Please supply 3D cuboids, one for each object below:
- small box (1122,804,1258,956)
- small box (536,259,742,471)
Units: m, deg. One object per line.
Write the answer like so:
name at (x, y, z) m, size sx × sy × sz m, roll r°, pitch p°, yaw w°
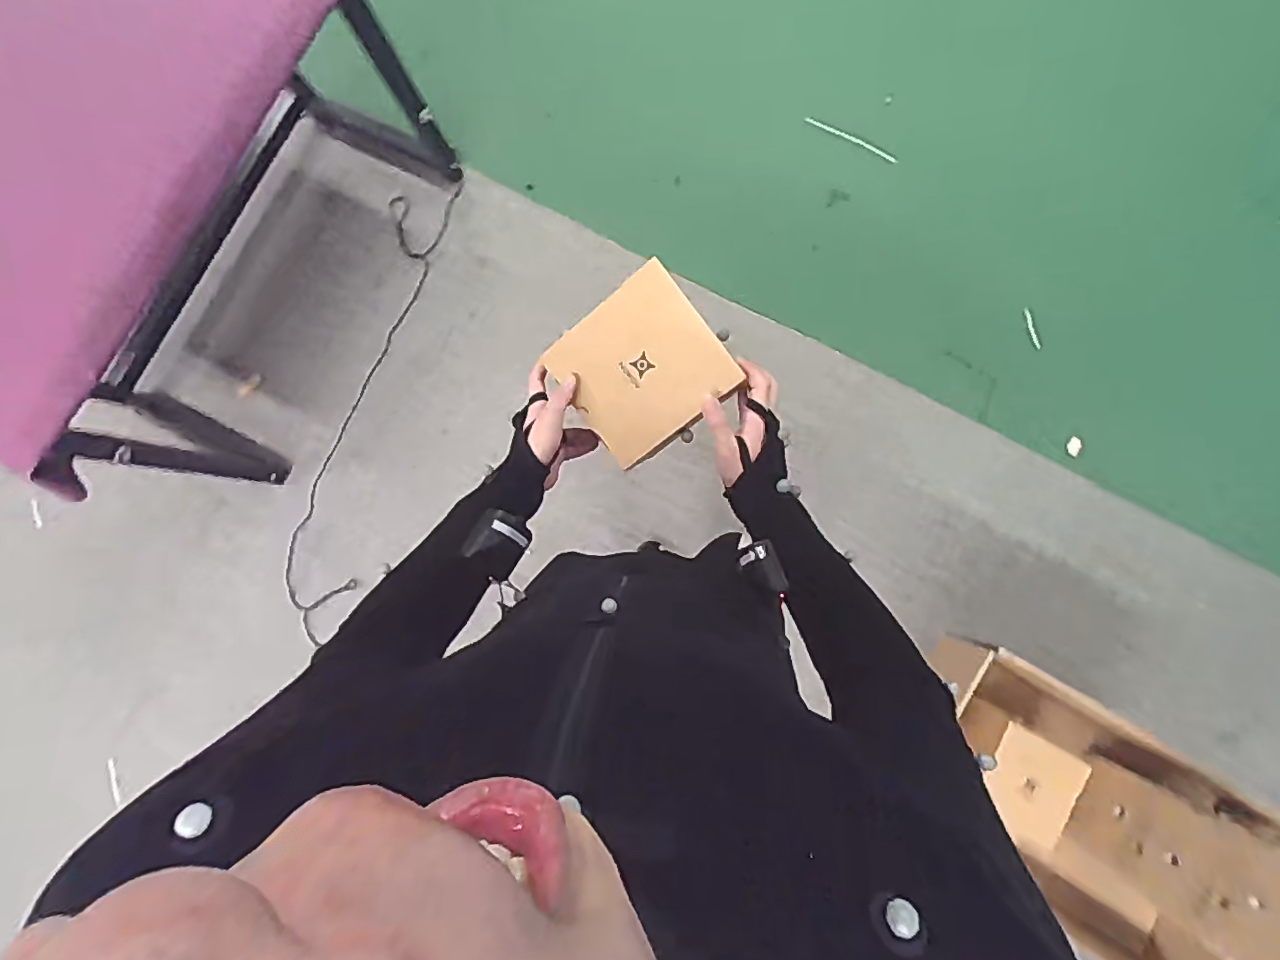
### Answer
small box at (0.945, 0.662, 0.867) m, size 0.179 × 0.176 × 0.168 m, roll 26°, pitch 87°, yaw 7°
small box at (0.008, -0.137, 0.673) m, size 0.179 × 0.176 × 0.168 m, roll -38°, pitch 90°, yaw 15°
